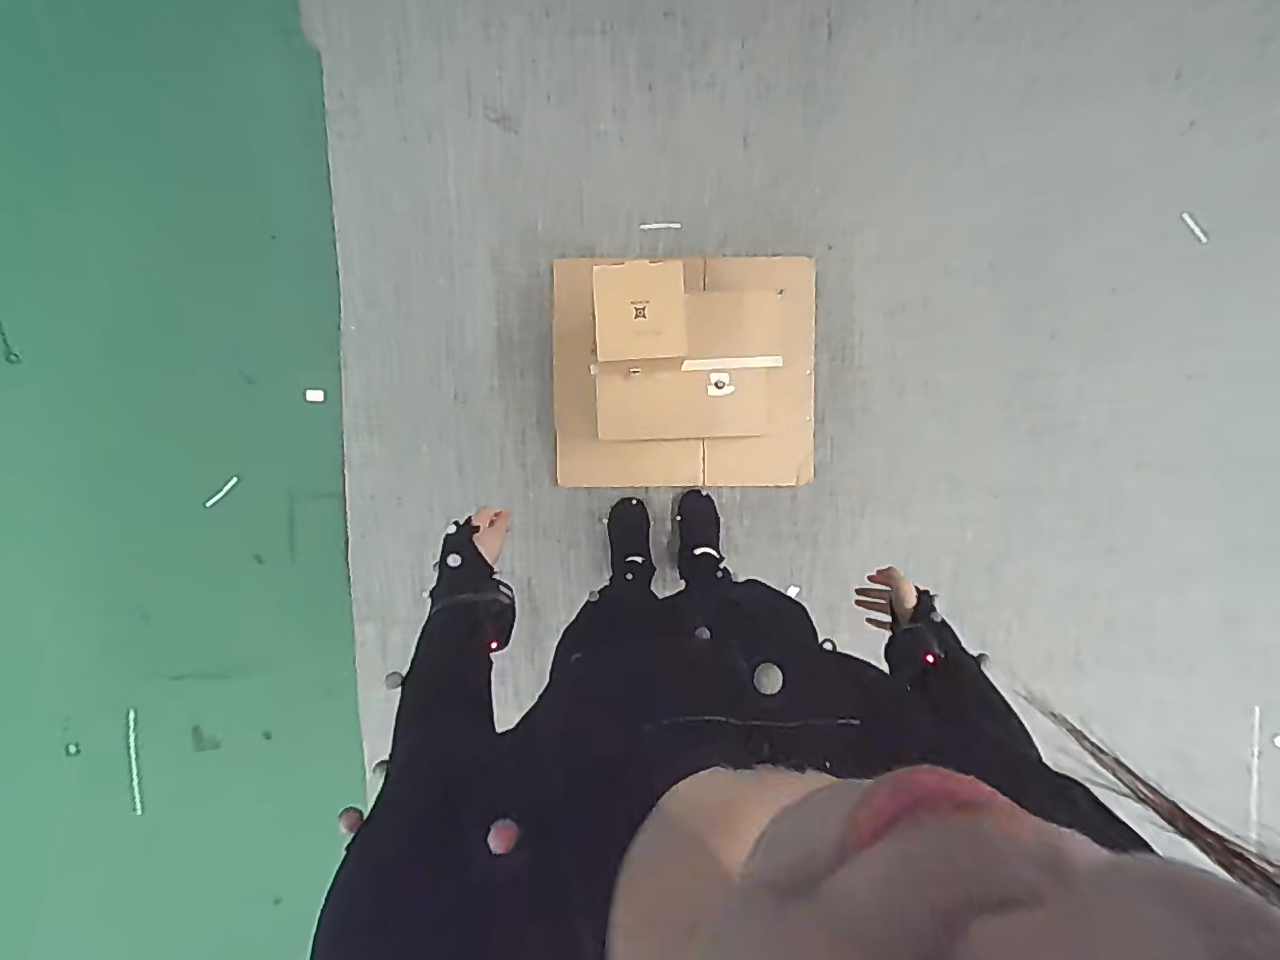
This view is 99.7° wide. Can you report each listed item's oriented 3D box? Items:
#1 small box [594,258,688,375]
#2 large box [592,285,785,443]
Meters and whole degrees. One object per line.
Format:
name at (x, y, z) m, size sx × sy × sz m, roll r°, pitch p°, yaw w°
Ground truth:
small box at (0.001, -0.309, 1.050) m, size 0.168 × 0.176 × 0.179 m, roll -4°, pitch 92°, yaw 1°
large box at (0.101, -0.255, 1.296) m, size 0.408 × 0.320 × 0.320 m, roll -2°, pitch 94°, yaw -1°
